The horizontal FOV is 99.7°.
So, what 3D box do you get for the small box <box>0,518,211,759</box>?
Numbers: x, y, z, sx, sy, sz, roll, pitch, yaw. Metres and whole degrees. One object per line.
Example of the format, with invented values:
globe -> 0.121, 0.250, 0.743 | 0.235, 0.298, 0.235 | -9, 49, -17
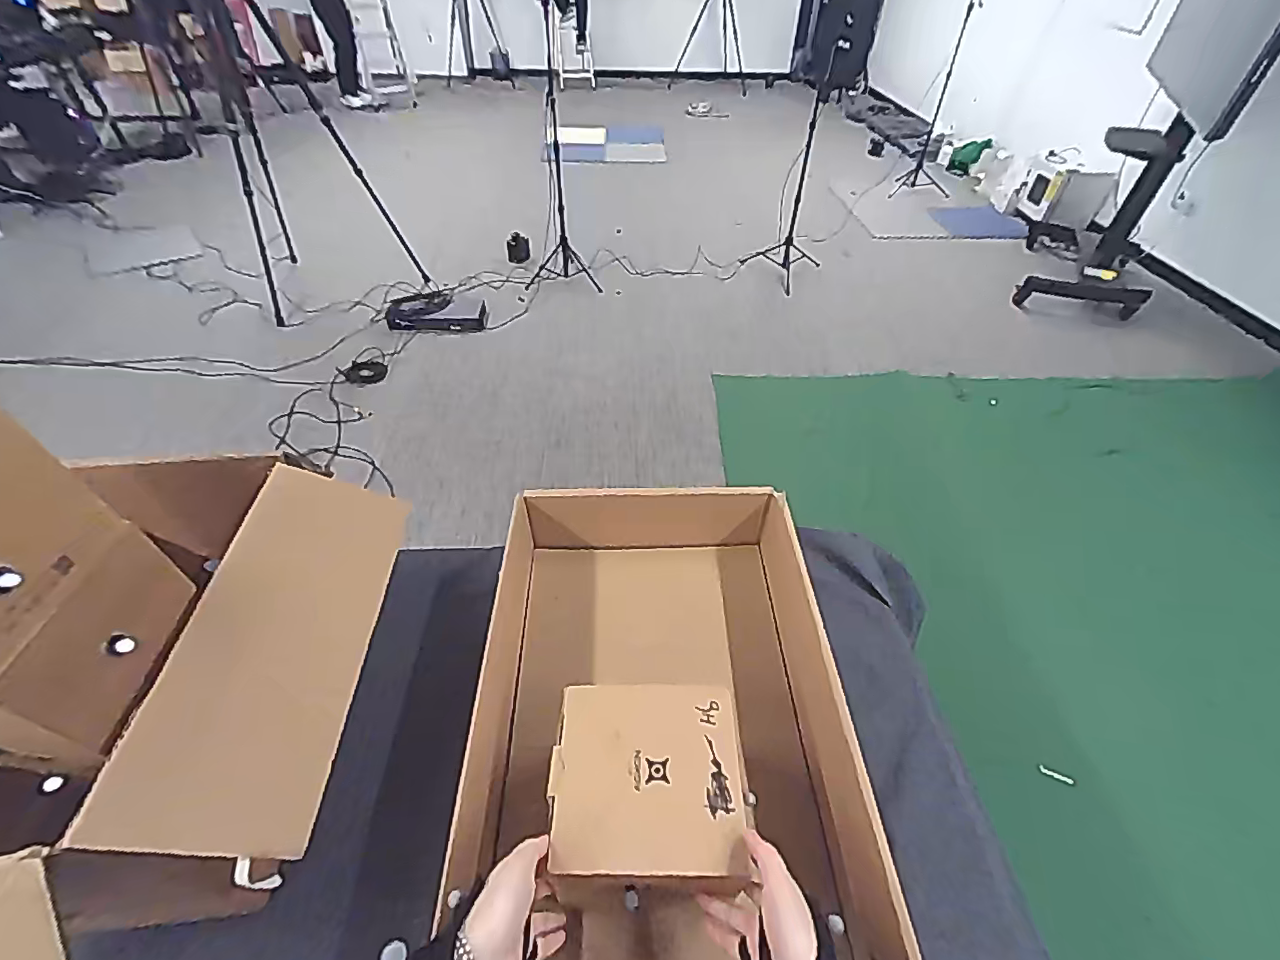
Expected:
small box -> -0.575, 0.152, 0.529 | 0.168, 0.176, 0.179 | 2, 48, -1
